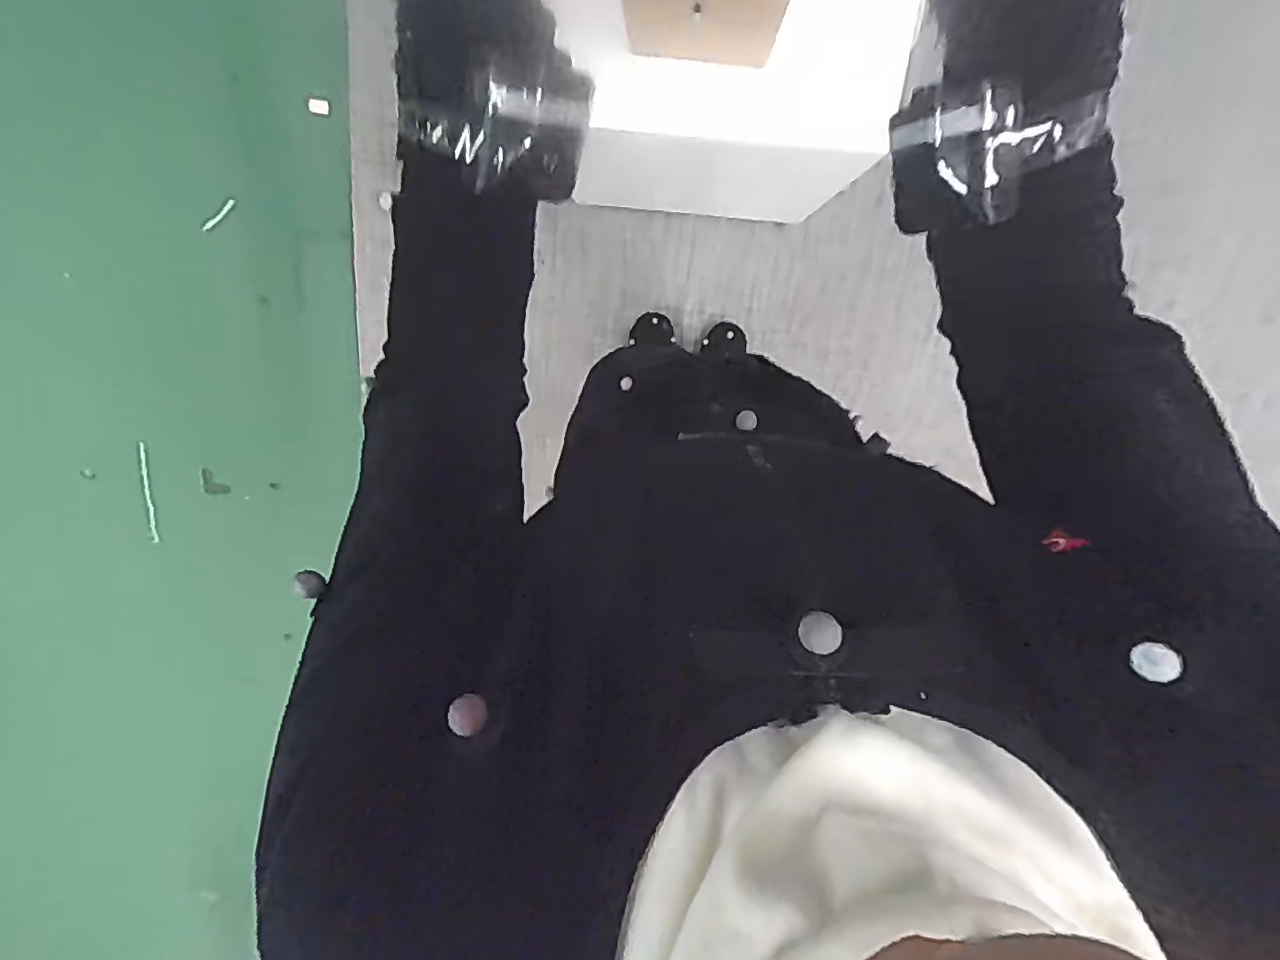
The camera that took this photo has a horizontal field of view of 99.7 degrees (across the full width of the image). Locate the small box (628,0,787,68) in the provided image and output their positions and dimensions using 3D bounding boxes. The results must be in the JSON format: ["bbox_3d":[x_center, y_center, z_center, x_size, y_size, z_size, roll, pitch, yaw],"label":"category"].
[{"bbox_3d":[0.080,-0.583,0.588,0.179,0.176,0.168,8,108,1],"label":"small box"}]
